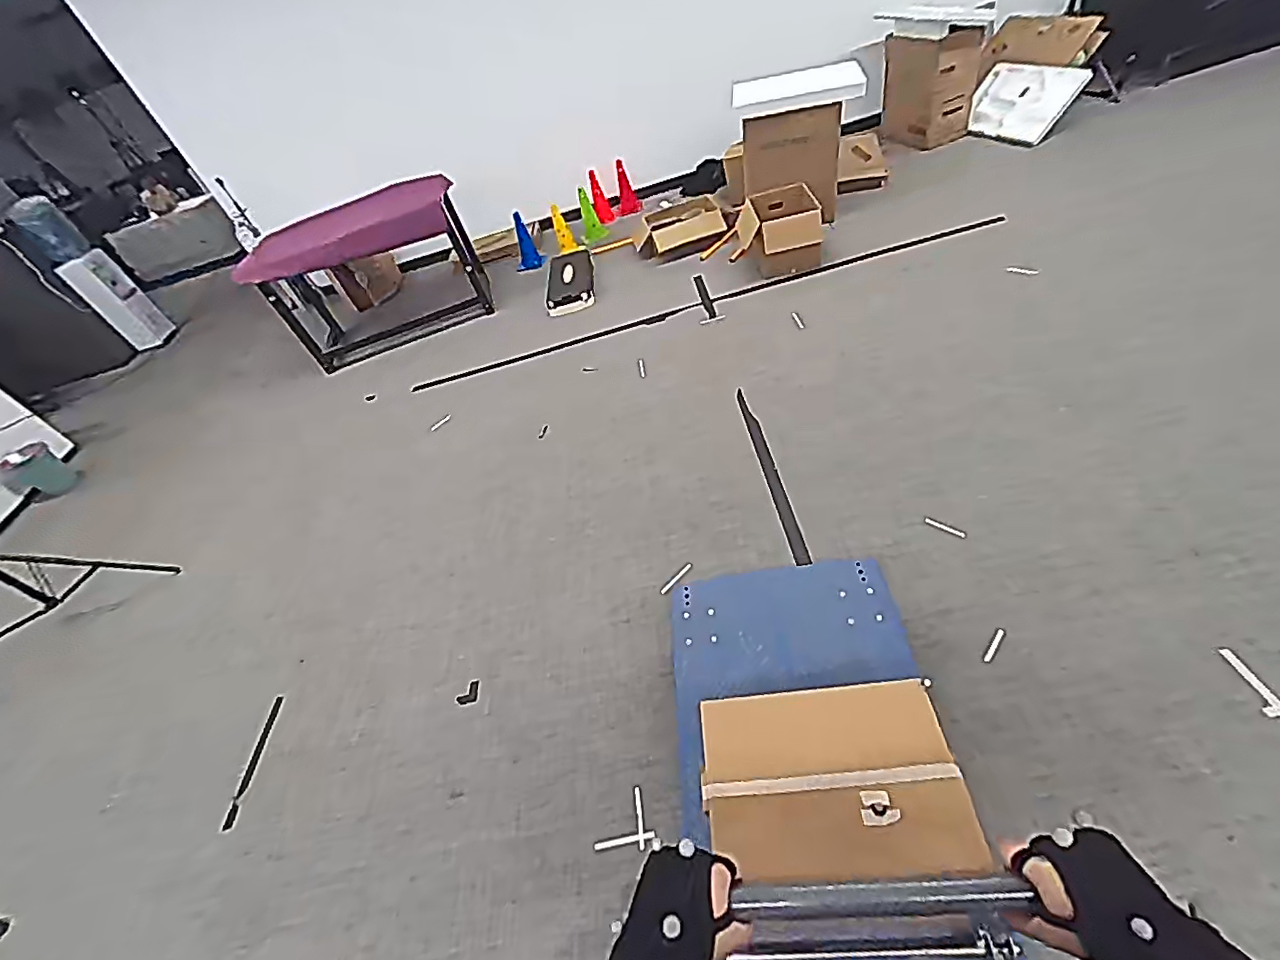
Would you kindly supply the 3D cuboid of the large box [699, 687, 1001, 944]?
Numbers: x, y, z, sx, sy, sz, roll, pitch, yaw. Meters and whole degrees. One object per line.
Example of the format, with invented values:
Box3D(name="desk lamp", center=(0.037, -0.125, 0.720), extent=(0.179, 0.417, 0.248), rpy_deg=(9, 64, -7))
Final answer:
Box3D(name="large box", center=(0.339, 0.613, 0.979), extent=(0.408, 0.320, 0.320), rpy_deg=(-10, 44, 9))
